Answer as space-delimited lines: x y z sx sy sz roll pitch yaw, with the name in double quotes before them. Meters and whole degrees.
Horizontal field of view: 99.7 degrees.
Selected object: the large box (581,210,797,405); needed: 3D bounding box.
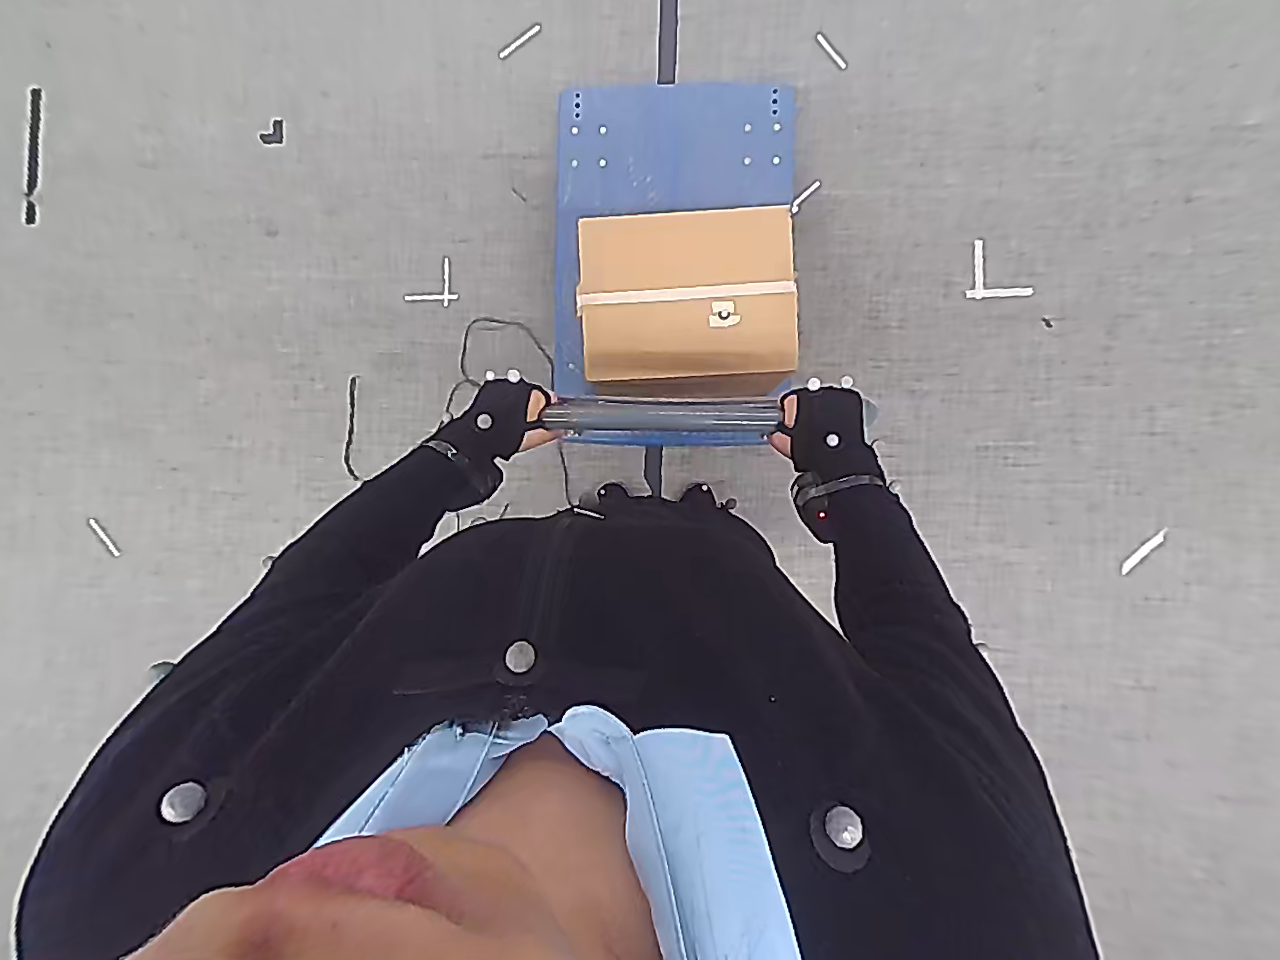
"large box" 0.096 -0.351 1.184 0.408 0.320 0.320 -3 91 2
